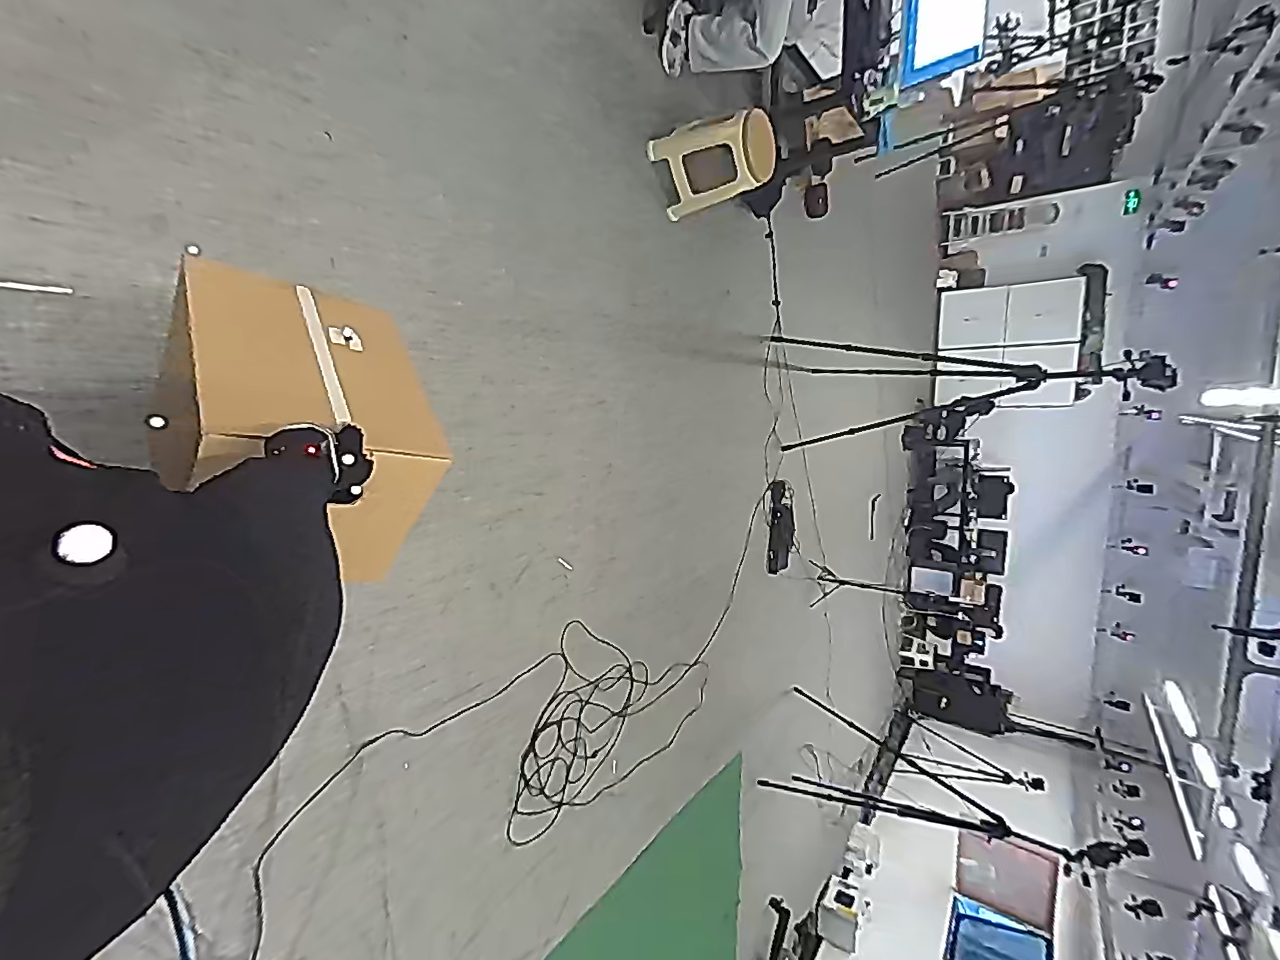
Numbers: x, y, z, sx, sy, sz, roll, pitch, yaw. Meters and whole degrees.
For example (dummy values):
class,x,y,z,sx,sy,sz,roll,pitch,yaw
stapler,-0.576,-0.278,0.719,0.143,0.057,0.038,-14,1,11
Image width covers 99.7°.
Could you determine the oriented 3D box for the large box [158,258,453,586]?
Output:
class,x,y,z,sx,sy,sz,roll,pitch,yaw
large box,-0.572,-0.083,0.901,0.320,0.408,0.320,7,131,-48
